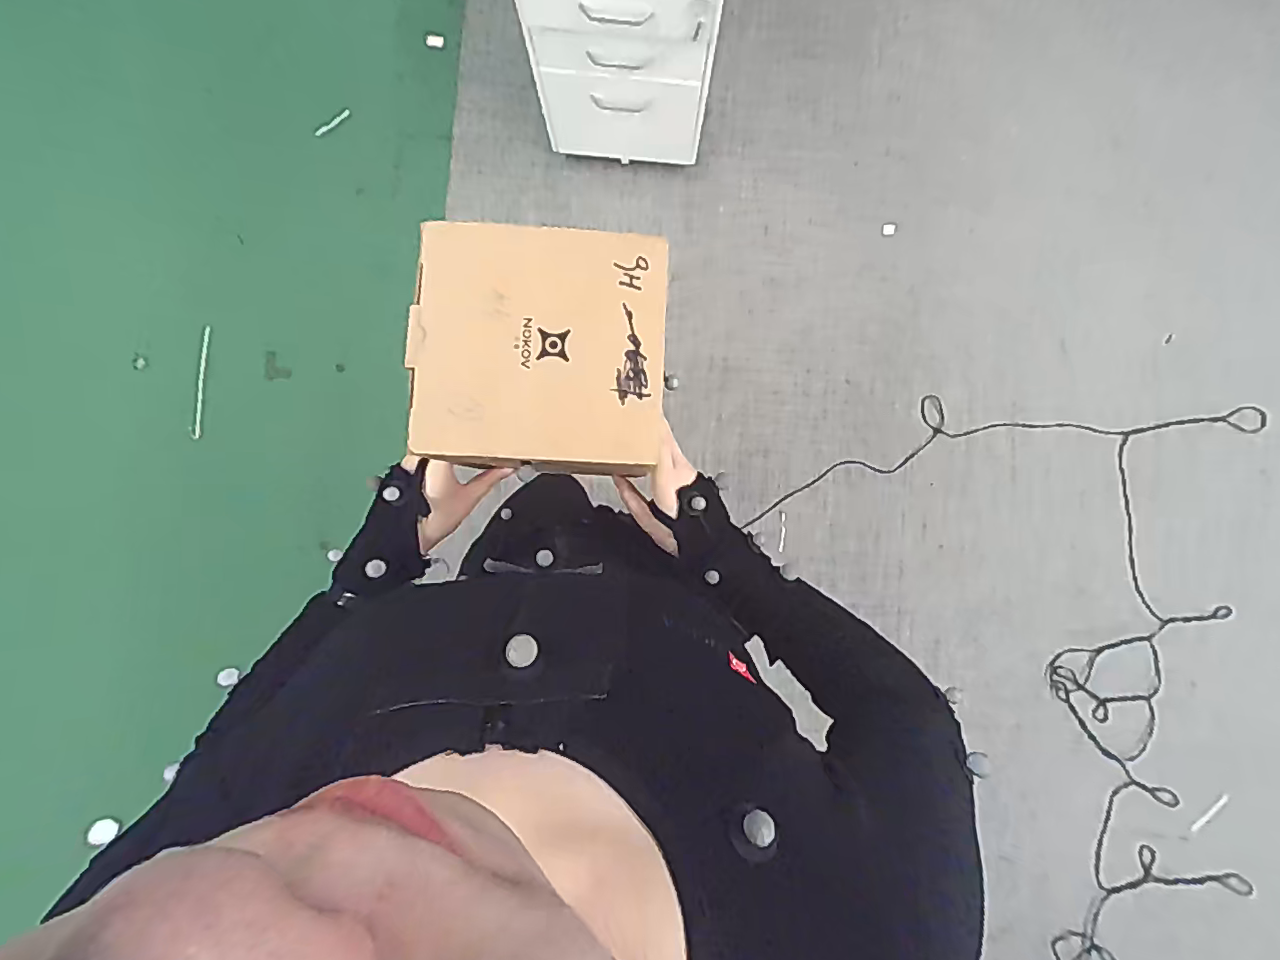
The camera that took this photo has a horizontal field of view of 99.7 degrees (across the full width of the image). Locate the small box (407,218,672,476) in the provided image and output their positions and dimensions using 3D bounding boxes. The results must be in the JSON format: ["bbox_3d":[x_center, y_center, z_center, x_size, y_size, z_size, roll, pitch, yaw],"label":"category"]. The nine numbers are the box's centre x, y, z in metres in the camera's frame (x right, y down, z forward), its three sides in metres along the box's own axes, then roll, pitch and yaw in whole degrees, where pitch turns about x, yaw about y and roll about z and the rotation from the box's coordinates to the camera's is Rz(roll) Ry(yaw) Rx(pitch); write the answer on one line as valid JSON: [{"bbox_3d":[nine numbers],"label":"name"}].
[{"bbox_3d":[-0.072,-0.093,0.458,0.179,0.176,0.168,4,87,-3],"label":"small box"}]
